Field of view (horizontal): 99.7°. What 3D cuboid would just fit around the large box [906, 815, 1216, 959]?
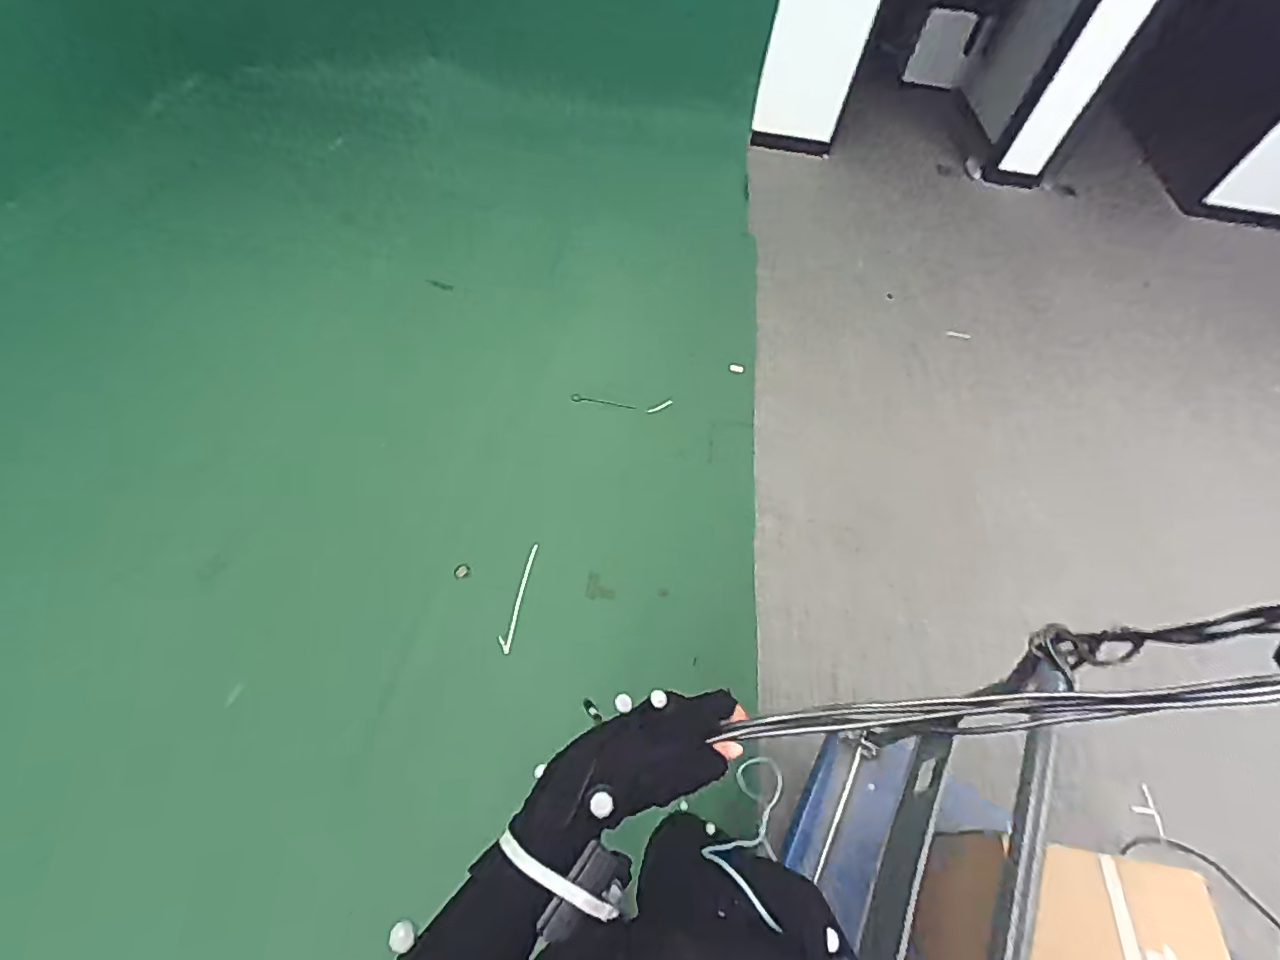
[{"bbox_3d":[0.671,0.814,0.878,0.320,0.320,0.408,11,55,2],"label":"large box"}]
